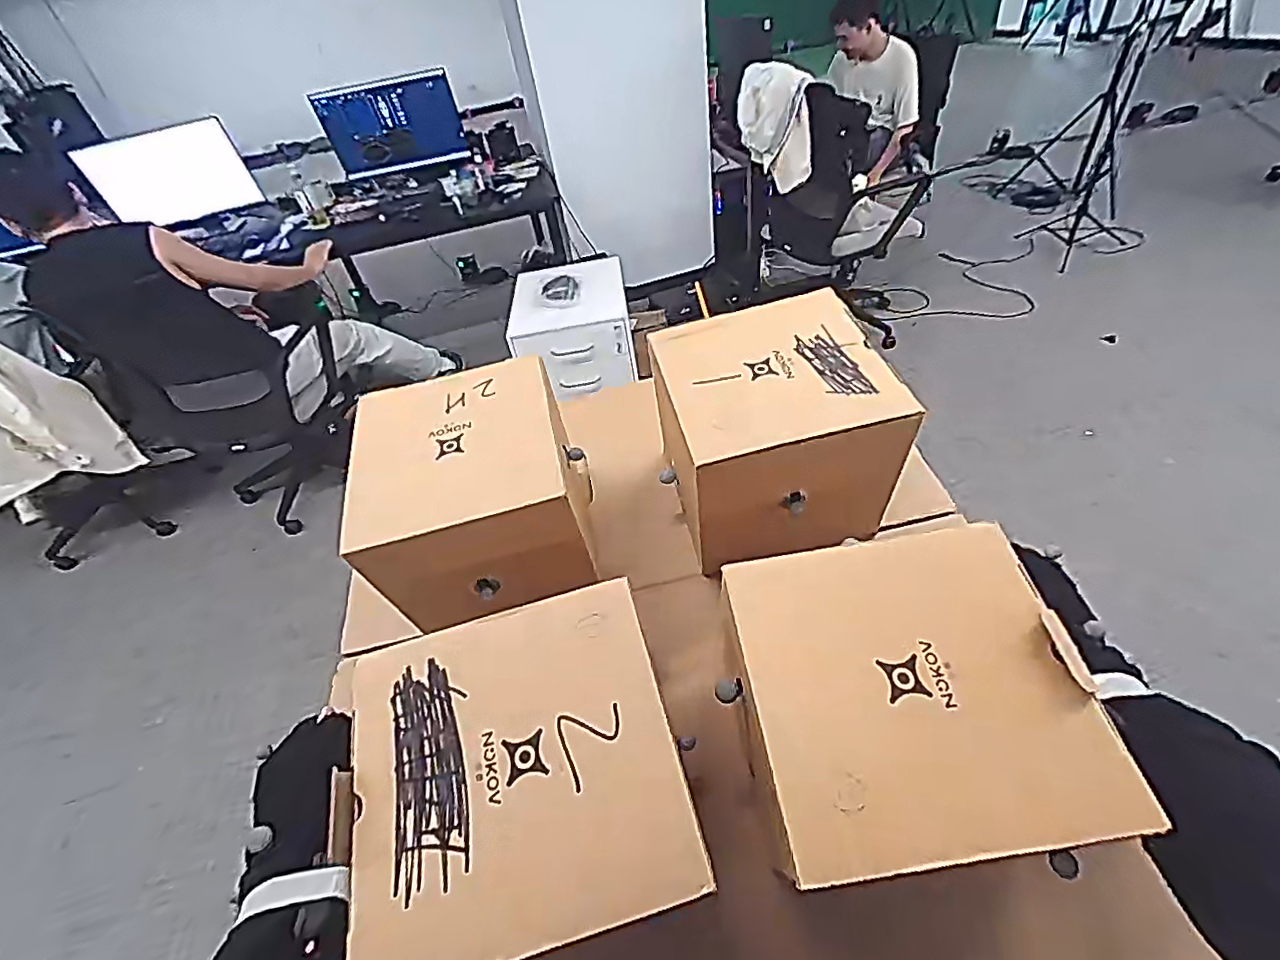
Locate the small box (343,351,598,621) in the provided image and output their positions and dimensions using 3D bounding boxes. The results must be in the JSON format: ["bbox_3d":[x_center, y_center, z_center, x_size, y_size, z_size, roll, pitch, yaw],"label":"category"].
[{"bbox_3d":[-0.142,0.014,0.504,0.168,0.176,0.179,-14,51,-2],"label":"small box"}]
